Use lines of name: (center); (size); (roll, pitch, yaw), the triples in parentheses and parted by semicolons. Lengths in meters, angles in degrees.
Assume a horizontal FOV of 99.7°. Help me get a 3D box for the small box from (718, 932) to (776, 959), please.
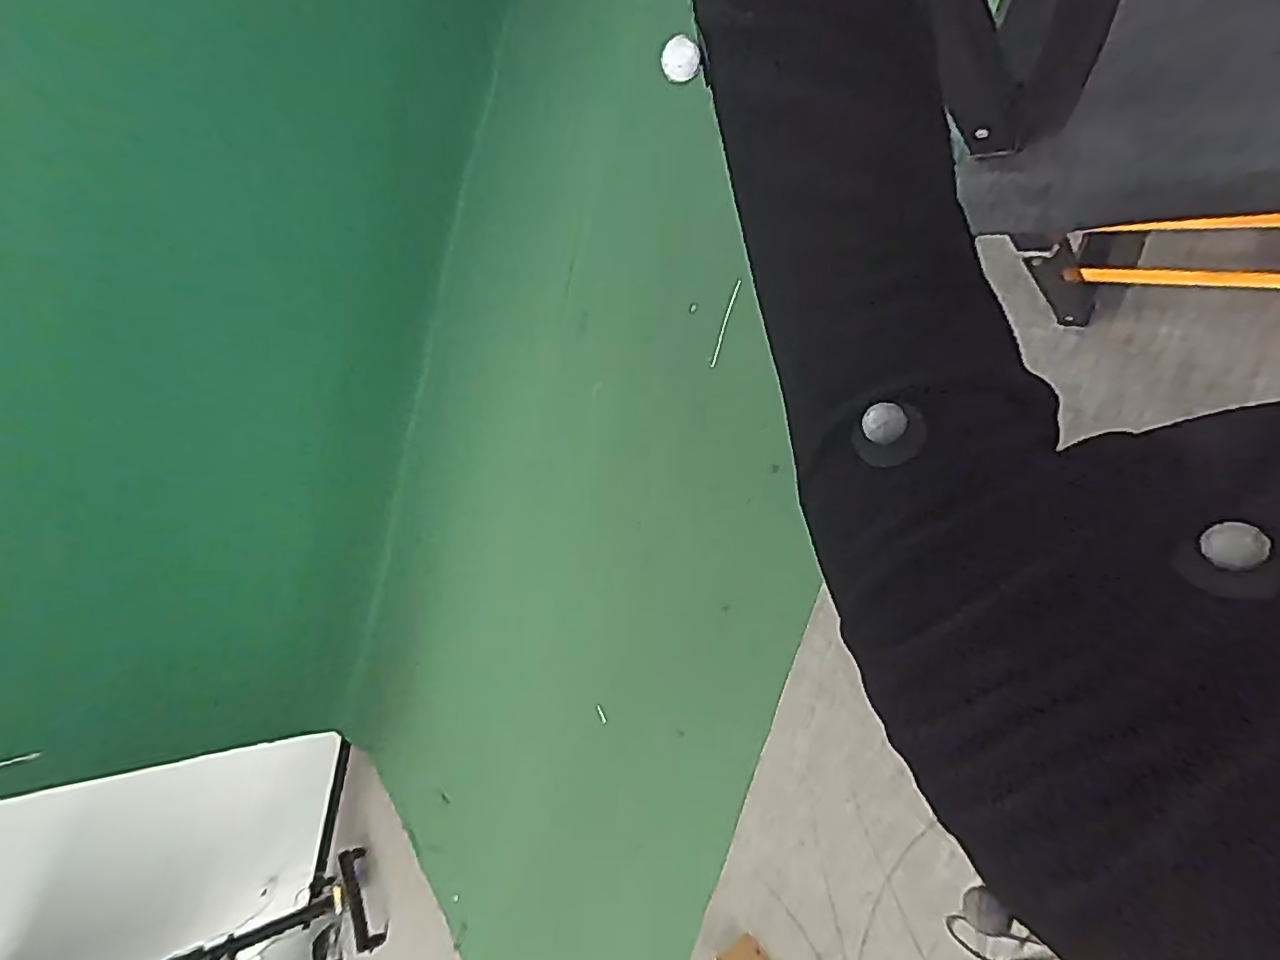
small box: (0.315, 1.483, 1.572); (0.168, 0.176, 0.179); (26, 103, 45)
